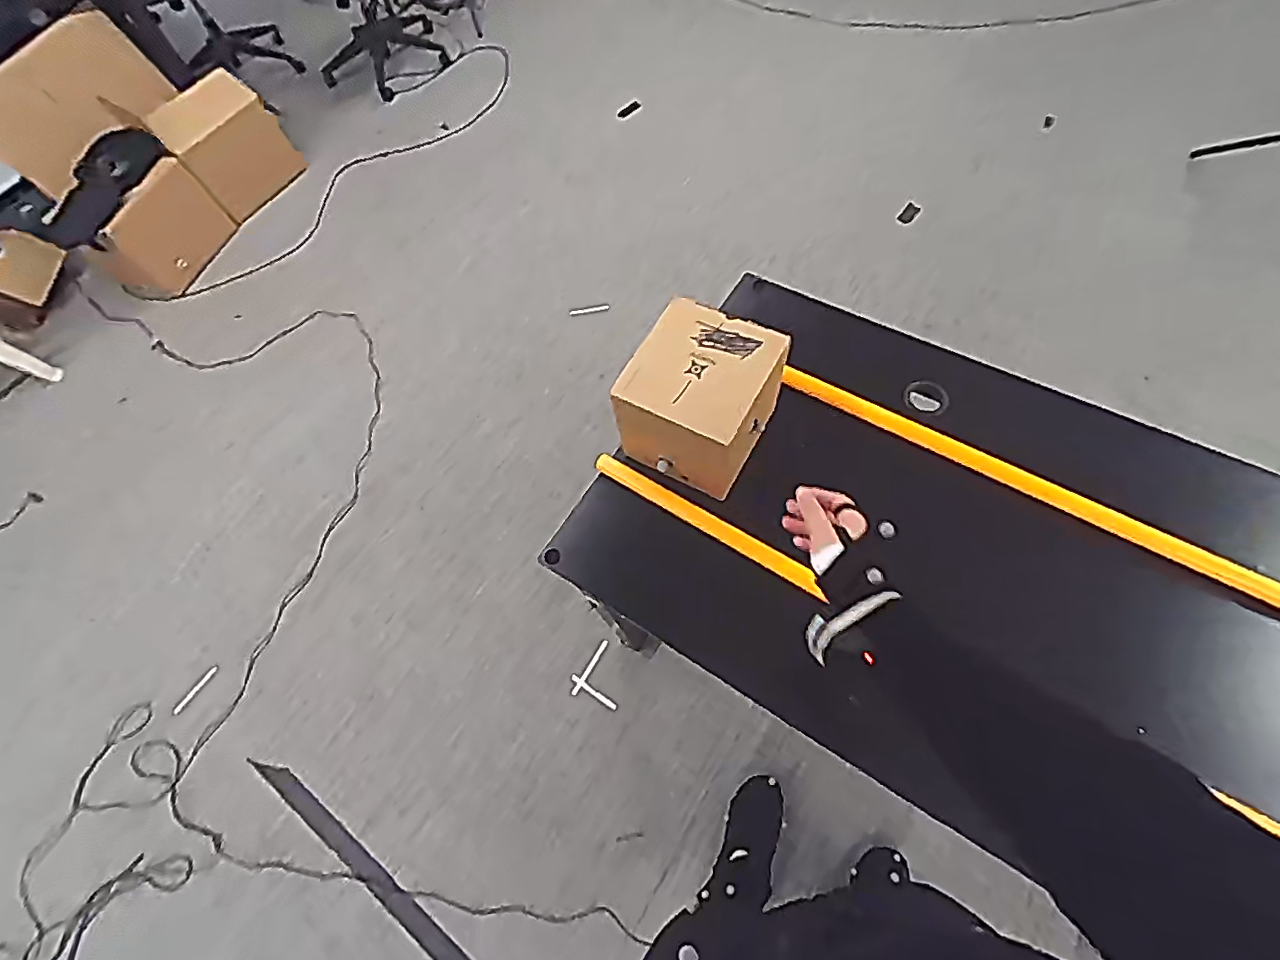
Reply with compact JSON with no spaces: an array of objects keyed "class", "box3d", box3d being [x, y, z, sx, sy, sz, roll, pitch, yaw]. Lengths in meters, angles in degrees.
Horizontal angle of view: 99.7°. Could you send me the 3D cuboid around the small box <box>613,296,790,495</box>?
[{"class":"small box","box3d":[0.083,-0.109,0.742,0.168,0.176,0.179,26,71,17]}]
